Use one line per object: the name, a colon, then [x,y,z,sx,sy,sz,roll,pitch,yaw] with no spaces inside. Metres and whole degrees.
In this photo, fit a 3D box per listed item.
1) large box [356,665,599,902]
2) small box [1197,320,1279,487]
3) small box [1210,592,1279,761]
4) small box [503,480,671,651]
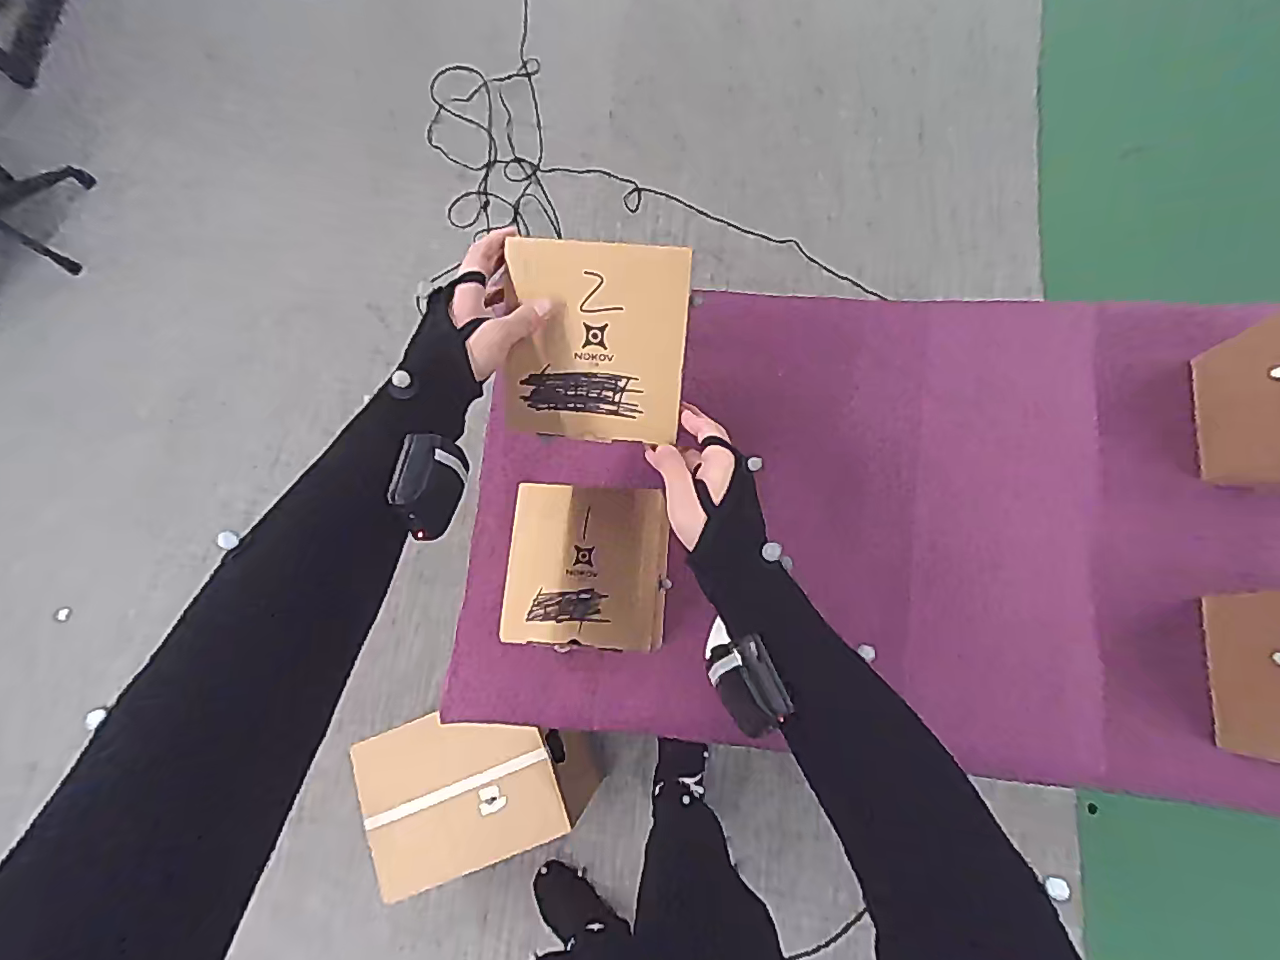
large box: [-0.351,0.658,1.244,0.408,0.320,0.320,-22,75,-1]
small box: [0.798,-0.093,0.617,0.168,0.176,0.179,6,78,10]
small box: [0.743,0.209,0.547,0.168,0.176,0.179,6,74,10]
small box: [-0.051,0.108,0.663,0.168,0.176,0.179,3,75,7]
